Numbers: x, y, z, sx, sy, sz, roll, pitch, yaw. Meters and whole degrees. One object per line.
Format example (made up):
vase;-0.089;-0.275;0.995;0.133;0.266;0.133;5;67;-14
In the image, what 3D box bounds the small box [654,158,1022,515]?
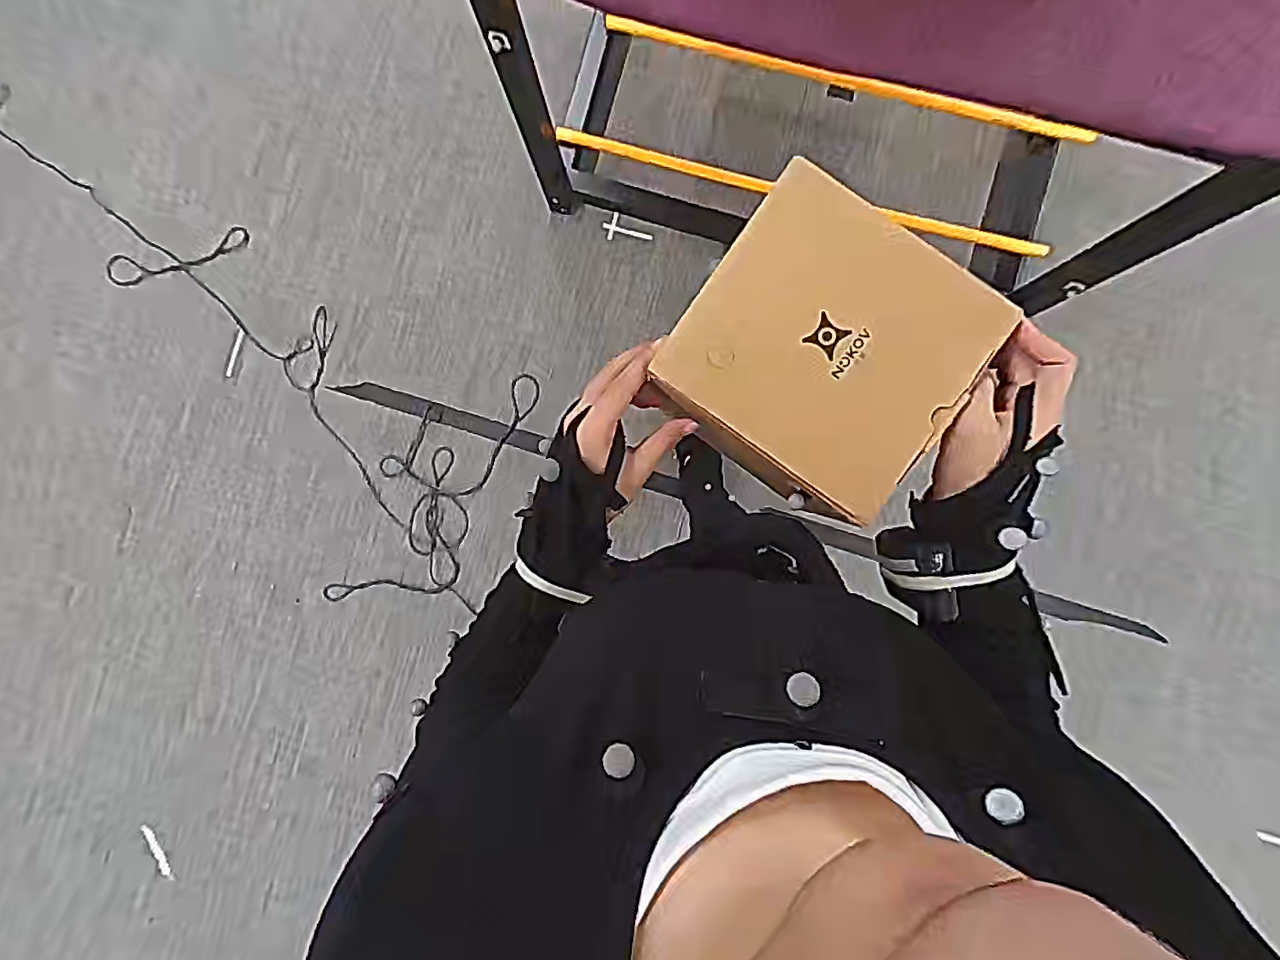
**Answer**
small box;0.125;-0.091;0.421;0.179;0.176;0.168;35;92;0
